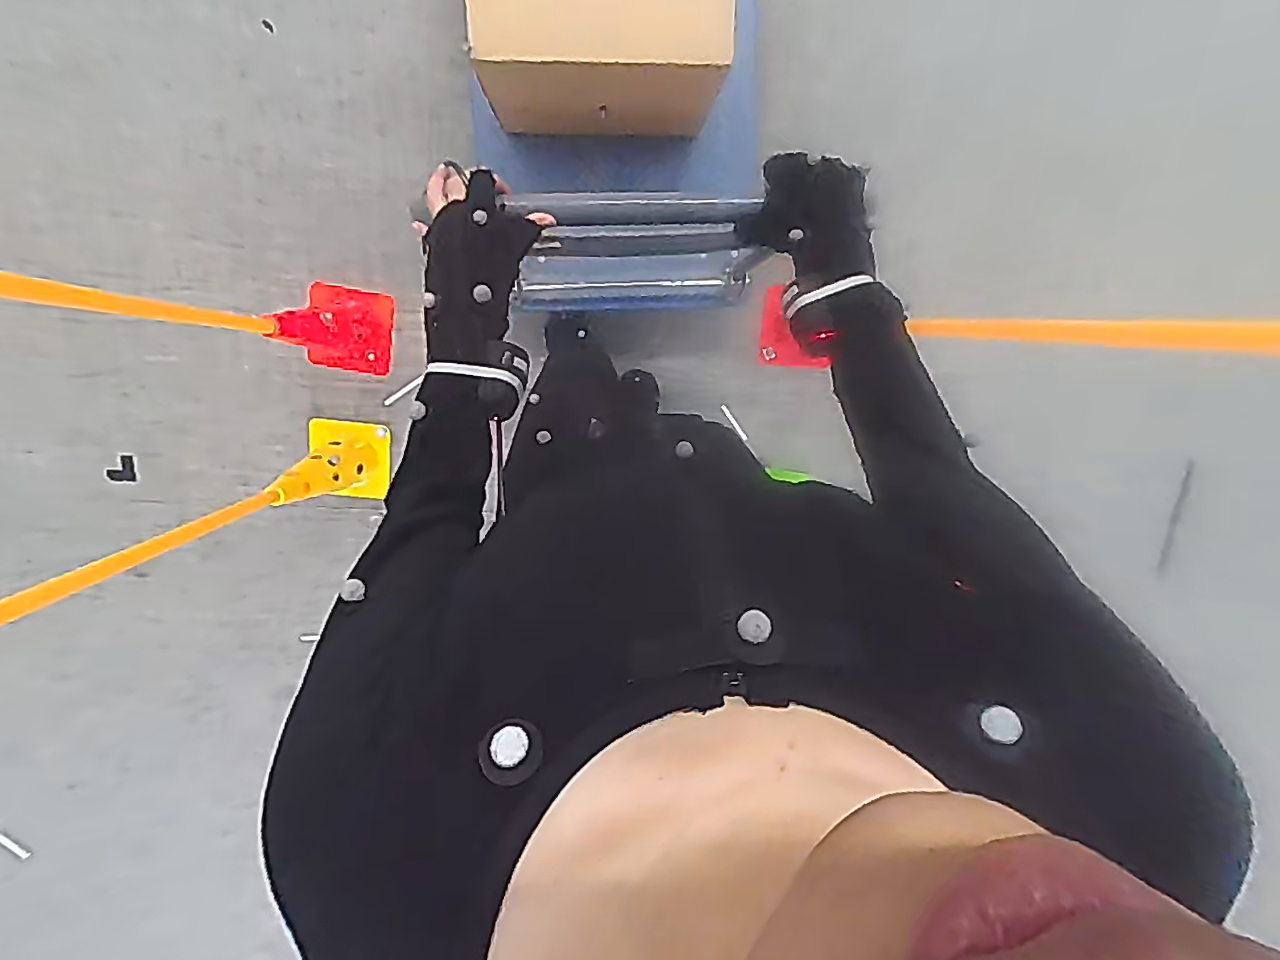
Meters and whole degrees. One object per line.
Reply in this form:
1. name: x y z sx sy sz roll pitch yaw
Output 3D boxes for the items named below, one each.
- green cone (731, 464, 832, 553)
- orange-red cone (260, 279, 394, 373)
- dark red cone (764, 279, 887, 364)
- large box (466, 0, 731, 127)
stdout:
1. green cone: 0.381 0.101 1.355 0.202 0.368 0.200 6 104 -7
2. orange-red cone: -0.697 -0.336 1.162 0.198 0.360 0.199 10 102 -8
3. dark red cone: 0.435 -0.363 1.223 0.201 0.394 0.202 2 105 -7
4. large box: -0.069 -0.832 0.932 0.408 0.320 0.320 -2 105 -3
